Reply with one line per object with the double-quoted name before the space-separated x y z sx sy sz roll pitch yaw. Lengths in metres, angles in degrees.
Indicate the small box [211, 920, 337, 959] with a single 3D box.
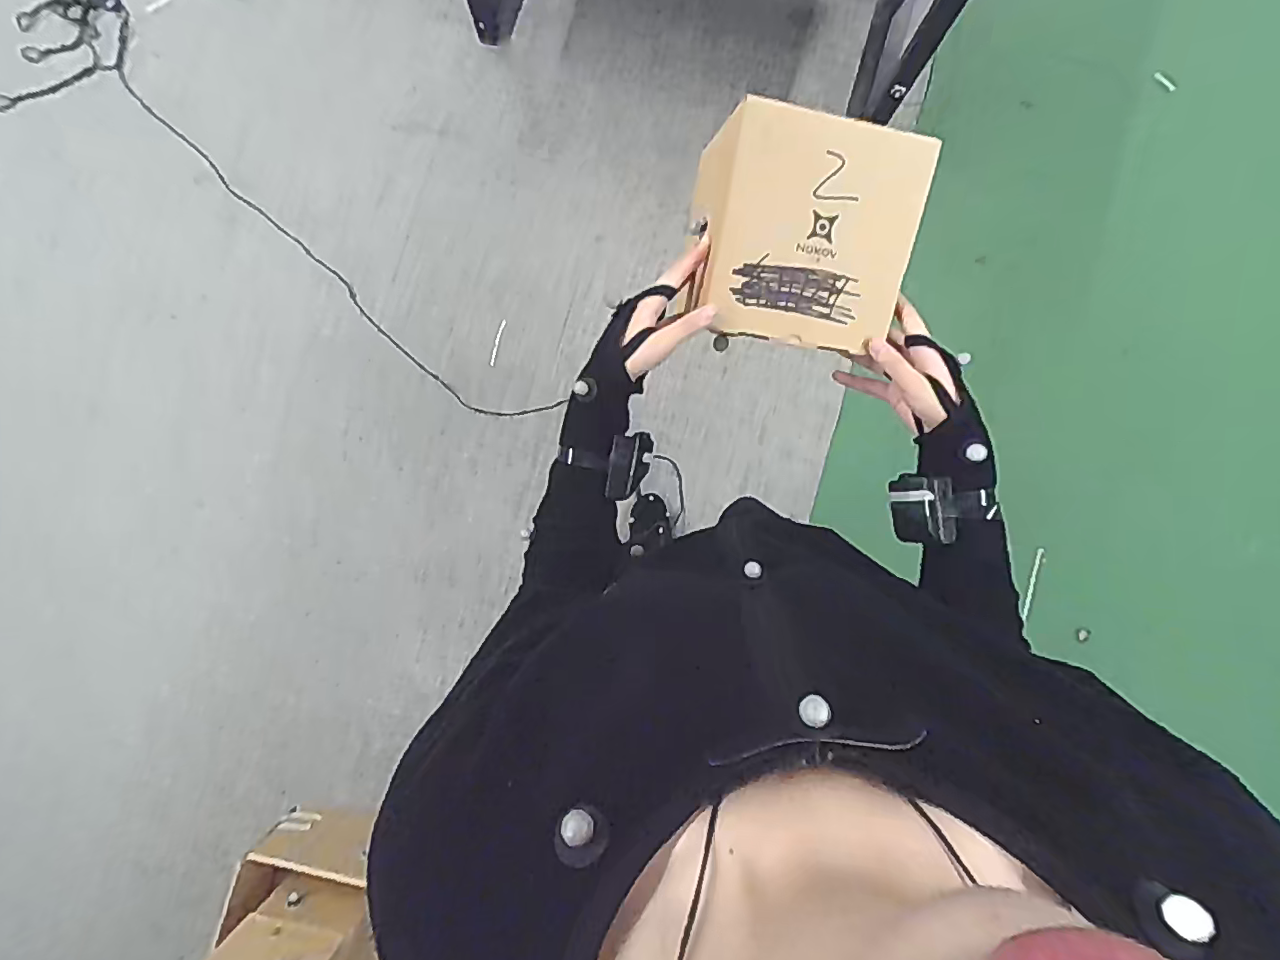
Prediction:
"small box" -0.587 0.813 0.806 0.168 0.176 0.179 13 86 0
